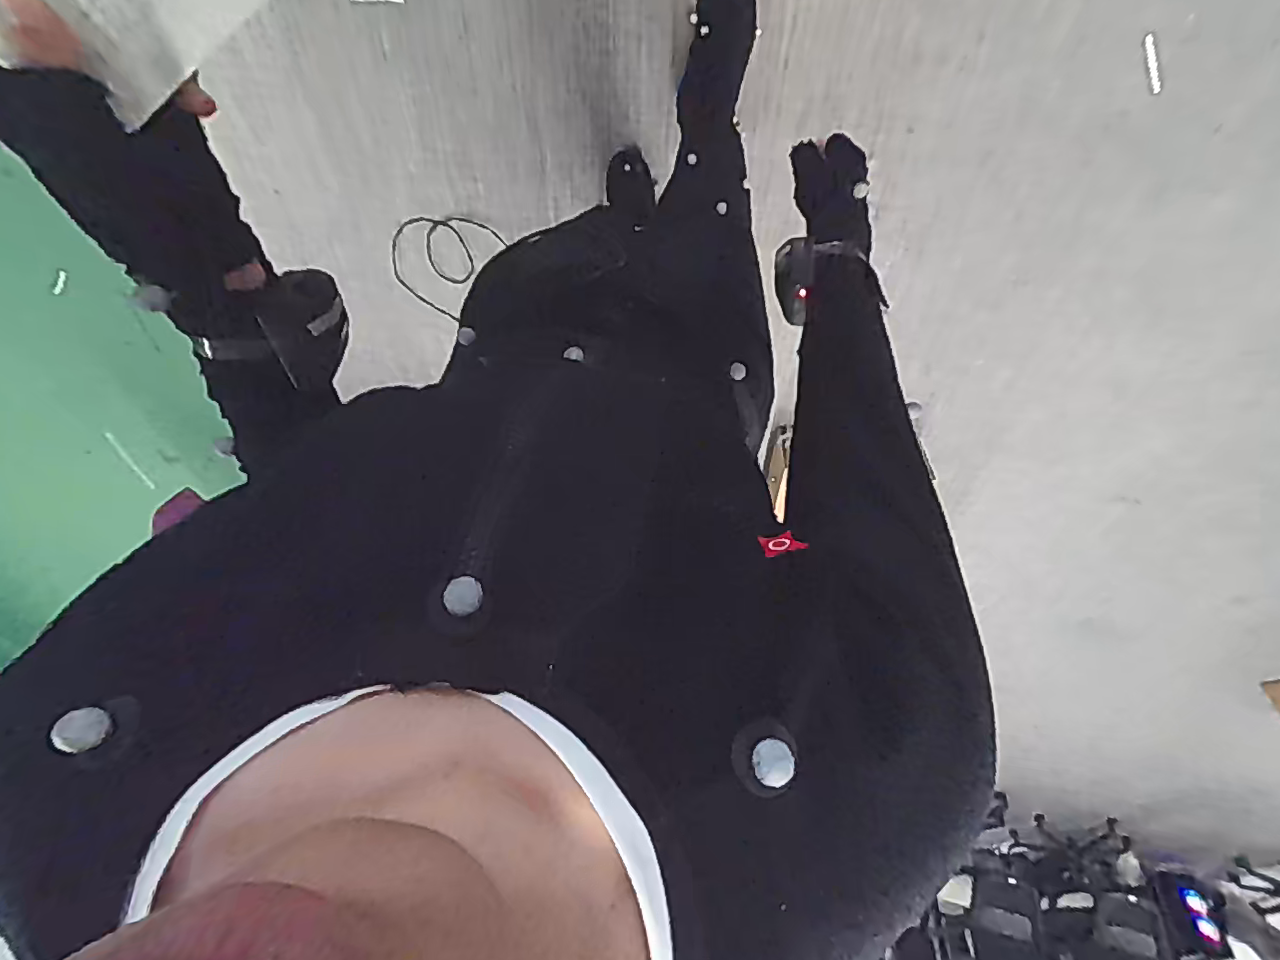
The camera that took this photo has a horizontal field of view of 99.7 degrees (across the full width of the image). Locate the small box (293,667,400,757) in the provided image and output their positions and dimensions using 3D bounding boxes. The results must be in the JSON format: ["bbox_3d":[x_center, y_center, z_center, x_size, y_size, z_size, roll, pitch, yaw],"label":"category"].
[{"bbox_3d":[-0.789,0.631,1.474,0.168,0.176,0.179,5,136,5],"label":"small box"}]

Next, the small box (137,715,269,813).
[{"bbox_3d":[-1.122,0.736,1.407,0.168,0.176,0.179,8,134,4],"label":"small box"}]
